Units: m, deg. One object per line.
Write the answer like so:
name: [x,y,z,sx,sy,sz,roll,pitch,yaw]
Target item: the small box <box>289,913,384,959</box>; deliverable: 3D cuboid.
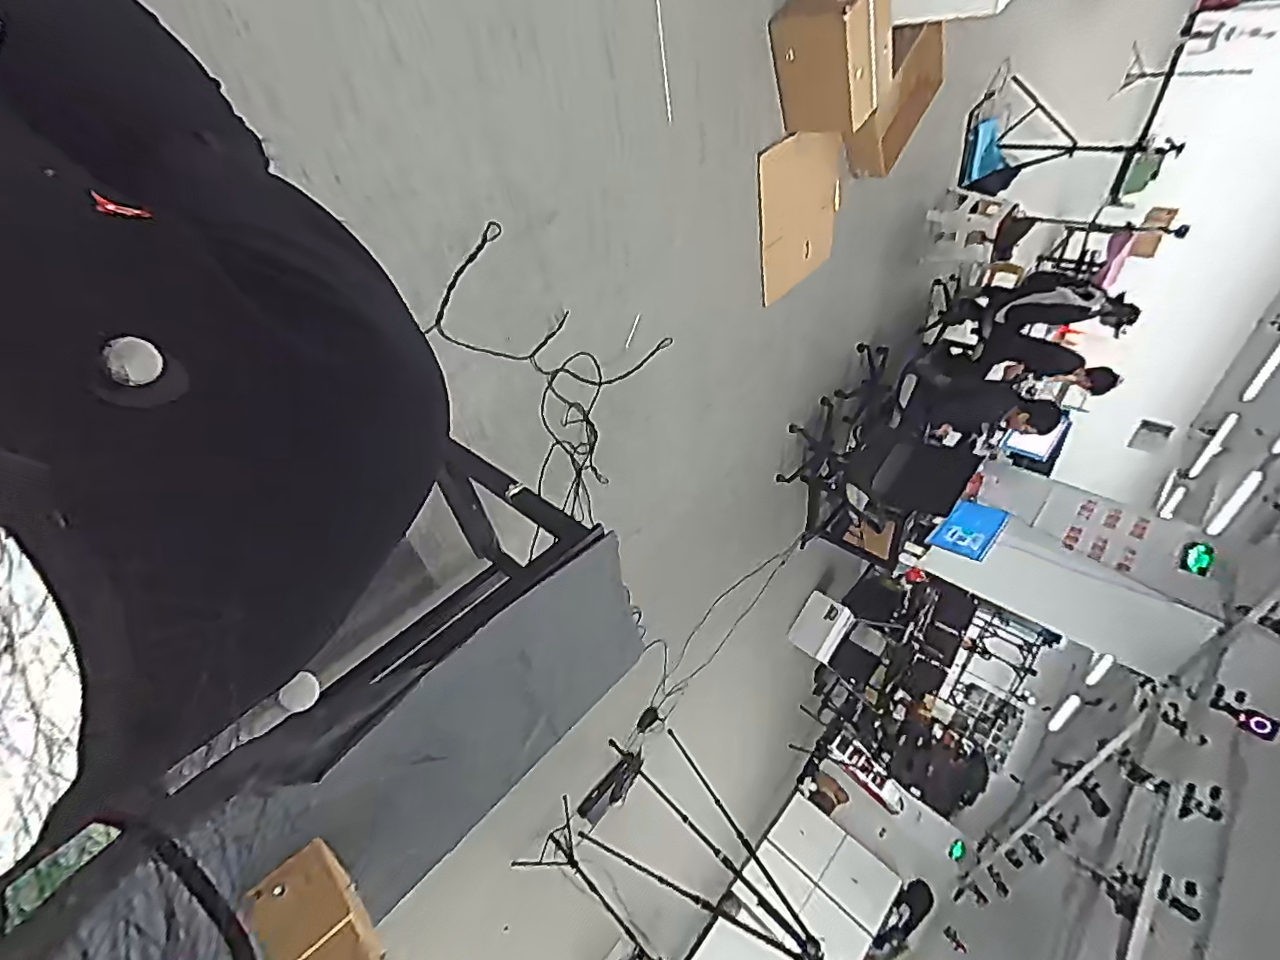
small box: [-0.496,0.856,0.864,0.179,0.176,0.168,-29,133,-35]
